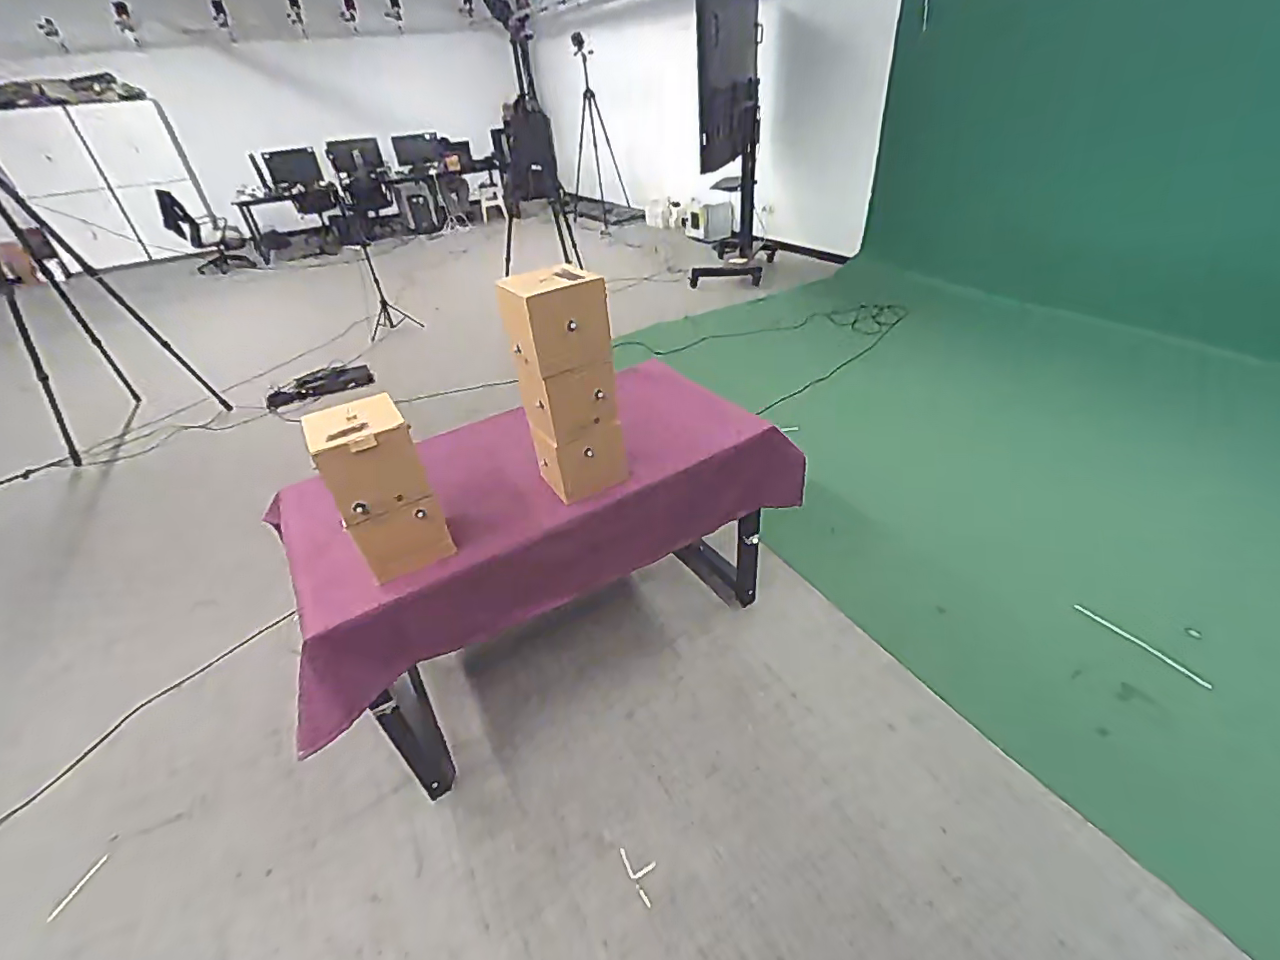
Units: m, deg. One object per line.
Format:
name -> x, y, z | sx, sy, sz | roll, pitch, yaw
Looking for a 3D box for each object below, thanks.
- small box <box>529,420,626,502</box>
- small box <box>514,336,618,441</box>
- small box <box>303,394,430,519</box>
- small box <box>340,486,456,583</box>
small box -> -0.149, -0.072, 1.329 | 0.179, 0.176, 0.168 | -23, 40, -22
small box -> -0.165, -0.207, 1.238 | 0.168, 0.176, 0.179 | -24, 39, -24
small box -> -0.535, -0.044, 1.067 | 0.168, 0.176, 0.179 | -24, 38, -24
small box -> -0.522, 0.090, 1.161 | 0.179, 0.176, 0.168 | -23, 39, -24
